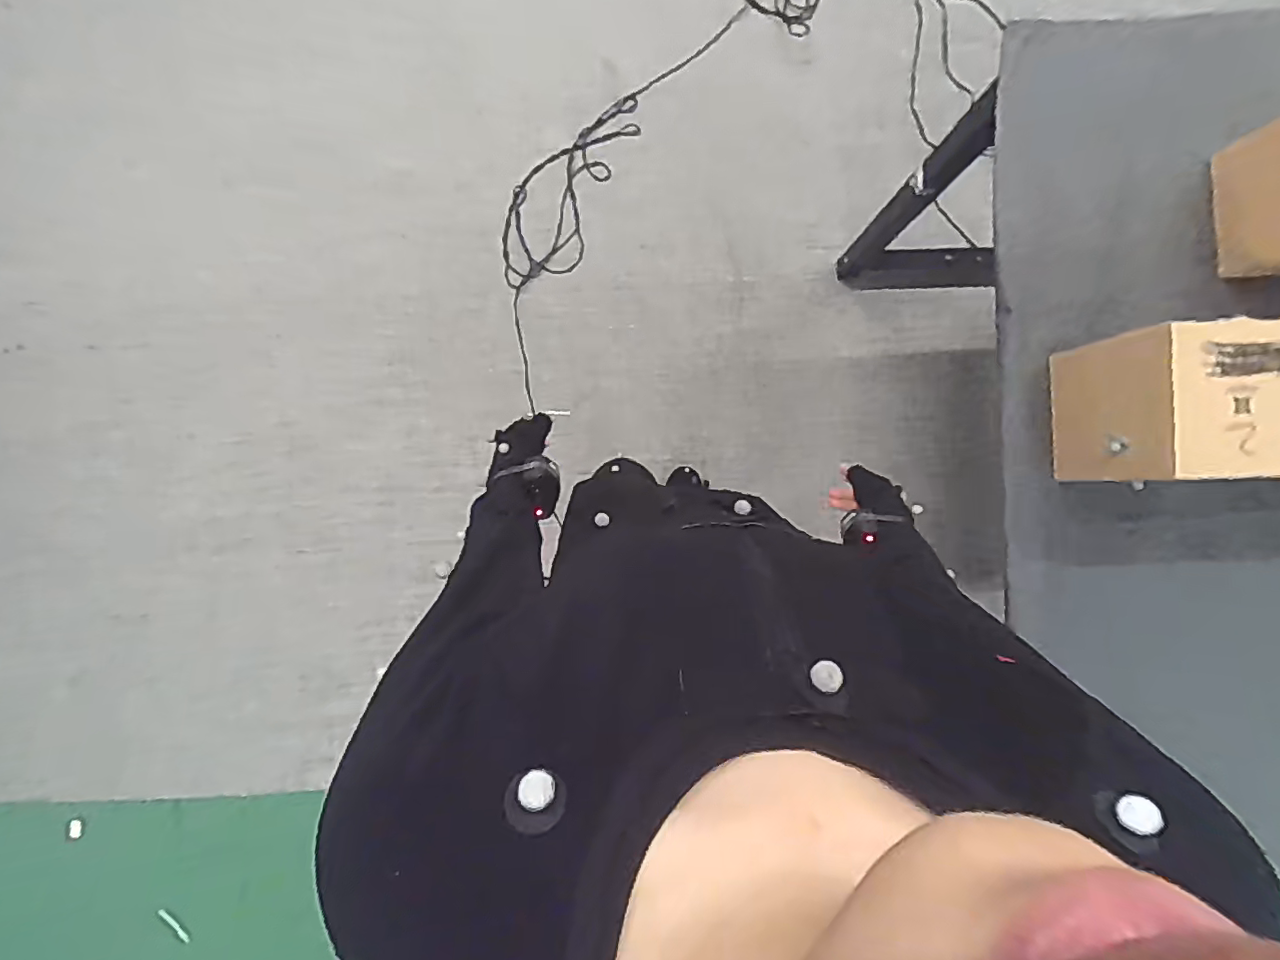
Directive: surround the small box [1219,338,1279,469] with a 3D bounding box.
[{"bbox_3d":[0.890,-0.098,0.673,0.179,0.176,0.168,3,90,-1],"label":"small box"}]
